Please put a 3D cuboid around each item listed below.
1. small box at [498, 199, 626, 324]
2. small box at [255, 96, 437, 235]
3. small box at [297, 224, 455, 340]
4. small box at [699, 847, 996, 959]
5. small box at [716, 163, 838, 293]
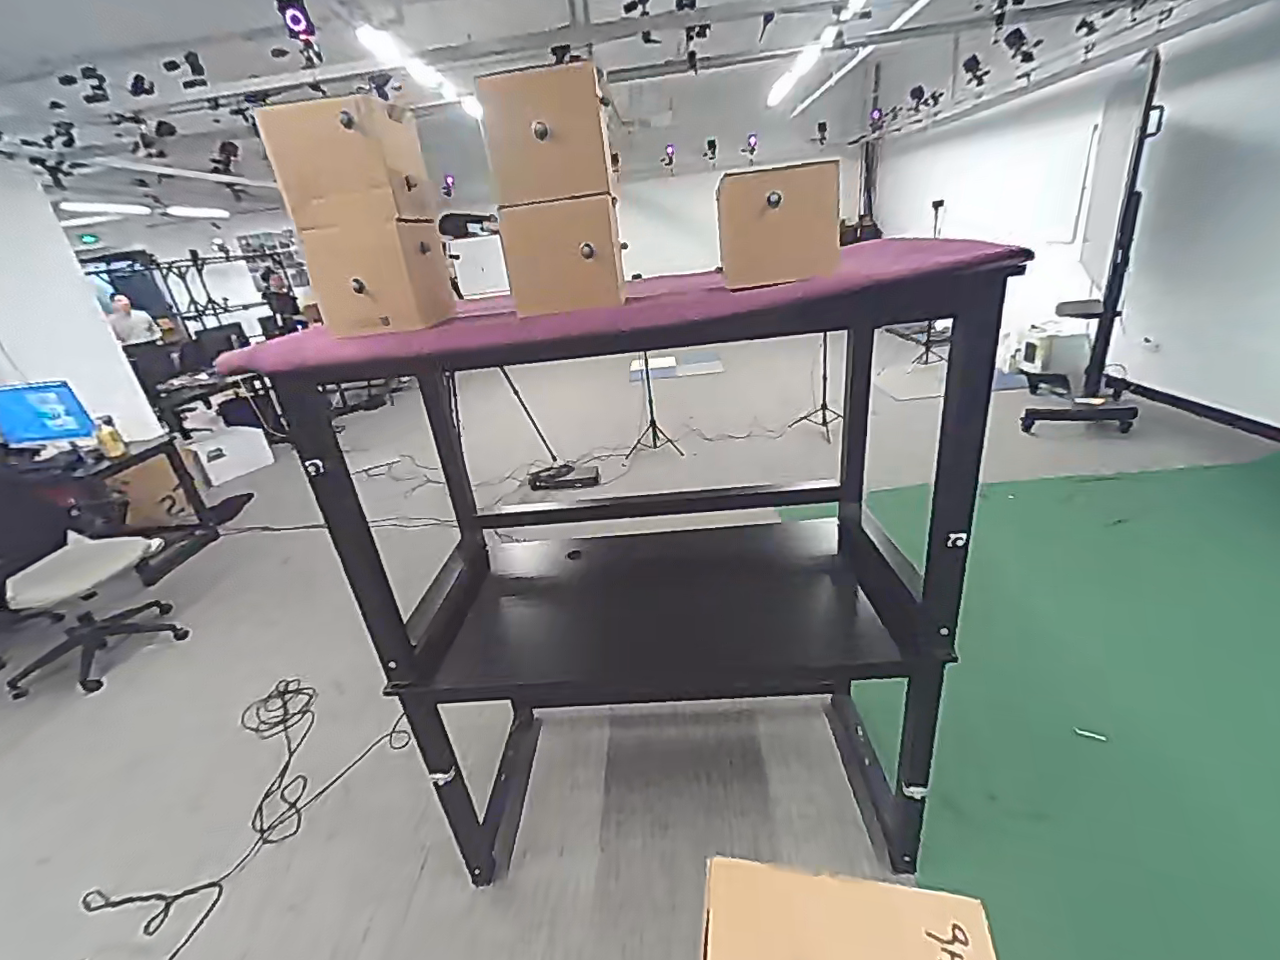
[{"bbox_3d":[-0.120,-0.371,0.920,0.179,0.176,0.168,-6,23,4],"label":"small box"},{"bbox_3d":[-0.456,-0.490,0.870,0.179,0.176,0.168,-5,25,3],"label":"small box"},{"bbox_3d":[-0.440,-0.342,0.938,0.168,0.176,0.179,-4,24,3],"label":"small box"},{"bbox_3d":[0.126,0.373,0.353,0.179,0.176,0.168,3,41,10],"label":"small box"},{"bbox_3d":[0.226,-0.414,0.911,0.179,0.176,0.168,-5,22,6],"label":"small box"}]
